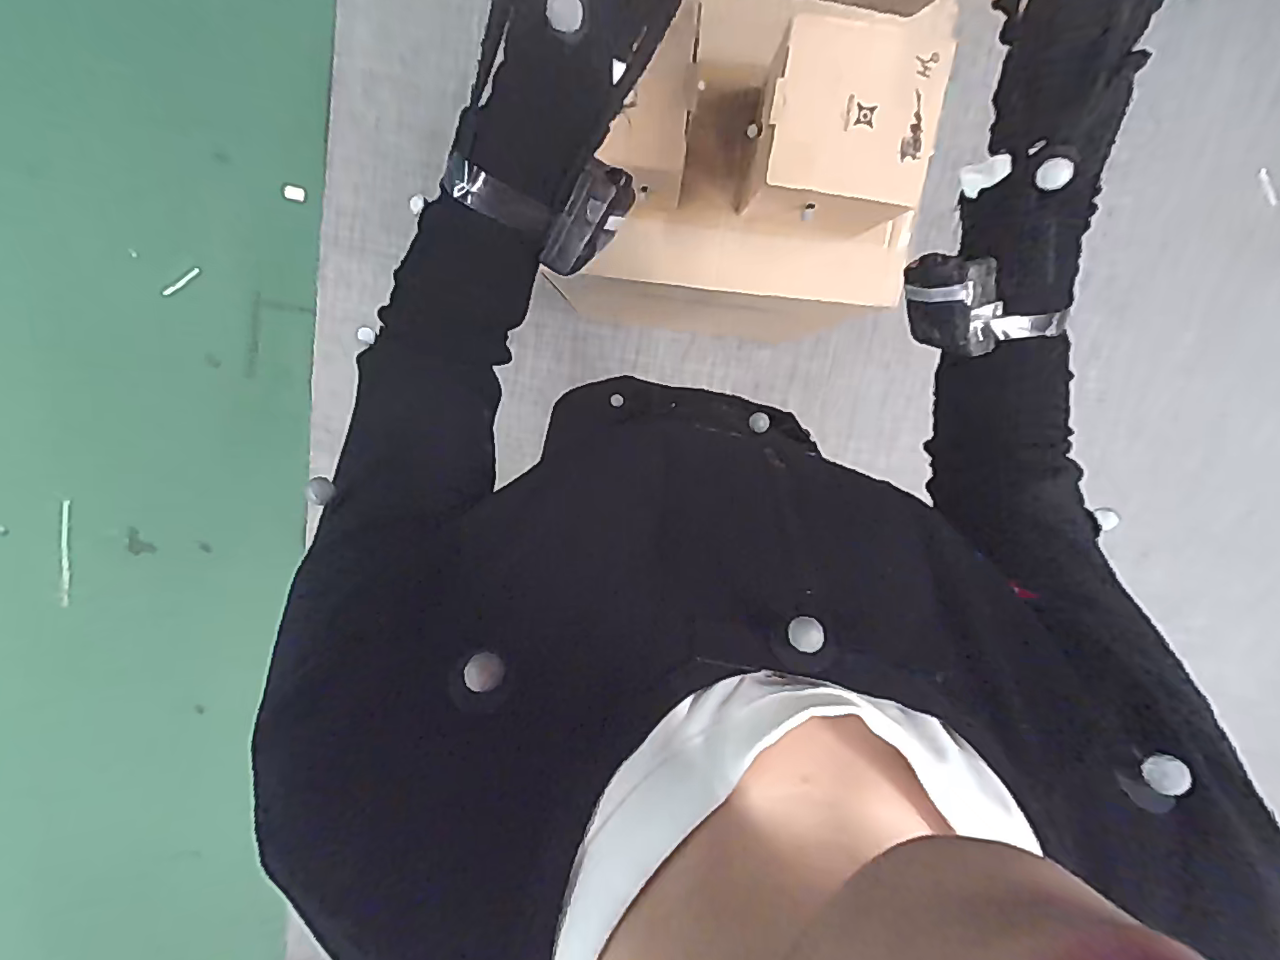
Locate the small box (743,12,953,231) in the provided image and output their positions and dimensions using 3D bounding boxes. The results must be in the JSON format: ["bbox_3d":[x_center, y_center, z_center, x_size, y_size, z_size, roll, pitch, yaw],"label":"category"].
[{"bbox_3d":[0.233,-0.417,0.661,0.179,0.176,0.168,8,104,-1],"label":"small box"}]

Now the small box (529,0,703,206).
[{"bbox_3d":[-0.027,-0.447,0.657,0.179,0.176,0.168,6,102,0],"label":"small box"}]
